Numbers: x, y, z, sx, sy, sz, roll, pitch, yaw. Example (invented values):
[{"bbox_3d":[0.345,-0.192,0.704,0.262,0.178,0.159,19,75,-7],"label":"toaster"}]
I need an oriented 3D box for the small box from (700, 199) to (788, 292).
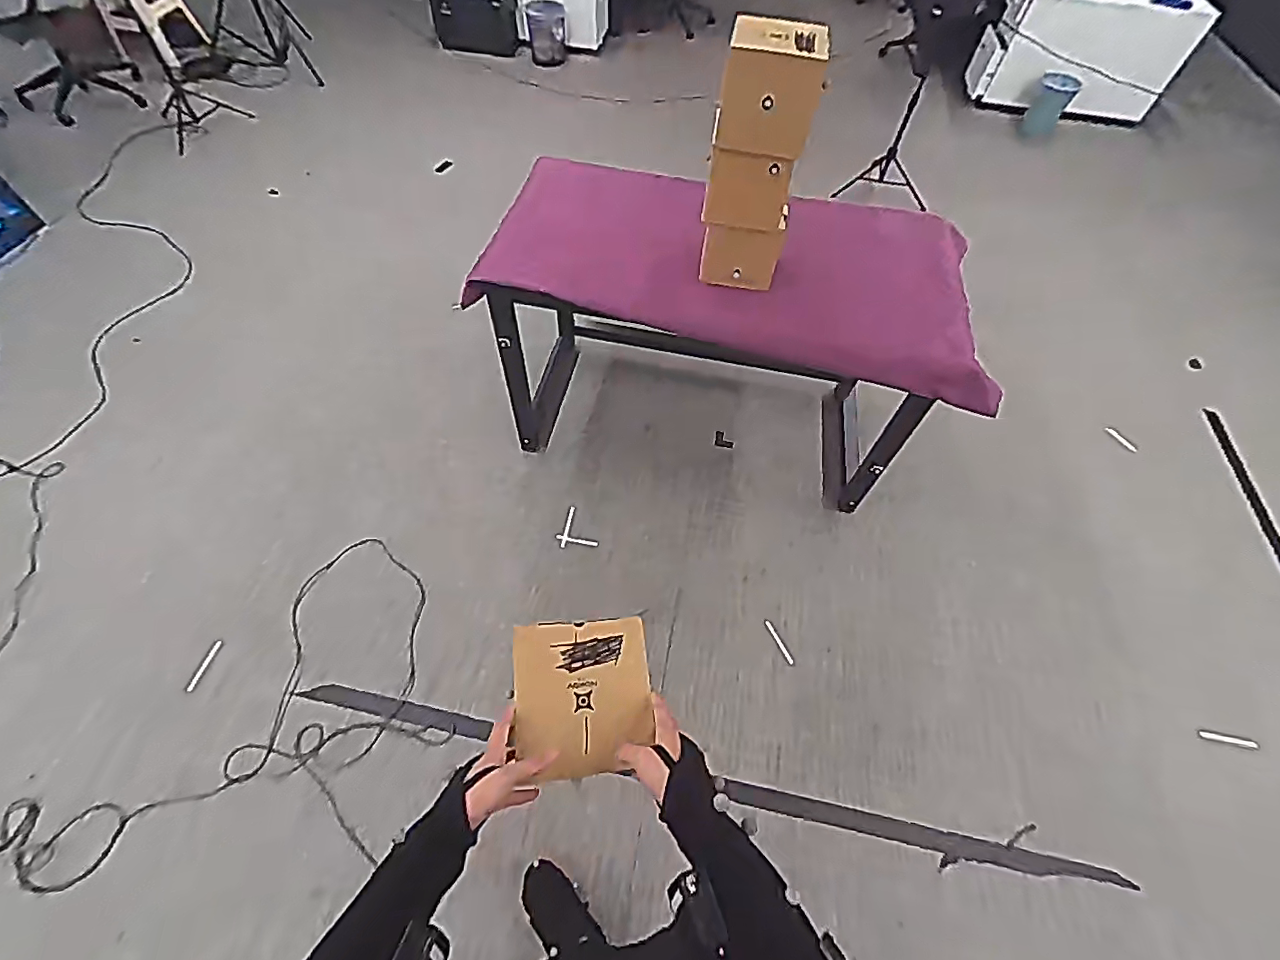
[{"bbox_3d":[0.254,-0.586,1.328,0.179,0.176,0.168,9,56,2],"label":"small box"}]

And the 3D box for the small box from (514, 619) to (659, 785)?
[{"bbox_3d":[-0.081,0.295,0.715,0.168,0.176,0.179,-2,63,-12],"label":"small box"}]

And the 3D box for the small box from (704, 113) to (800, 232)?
[{"bbox_3d":[0.241,-0.670,1.188,0.179,0.176,0.168,9,56,2],"label":"small box"}]
